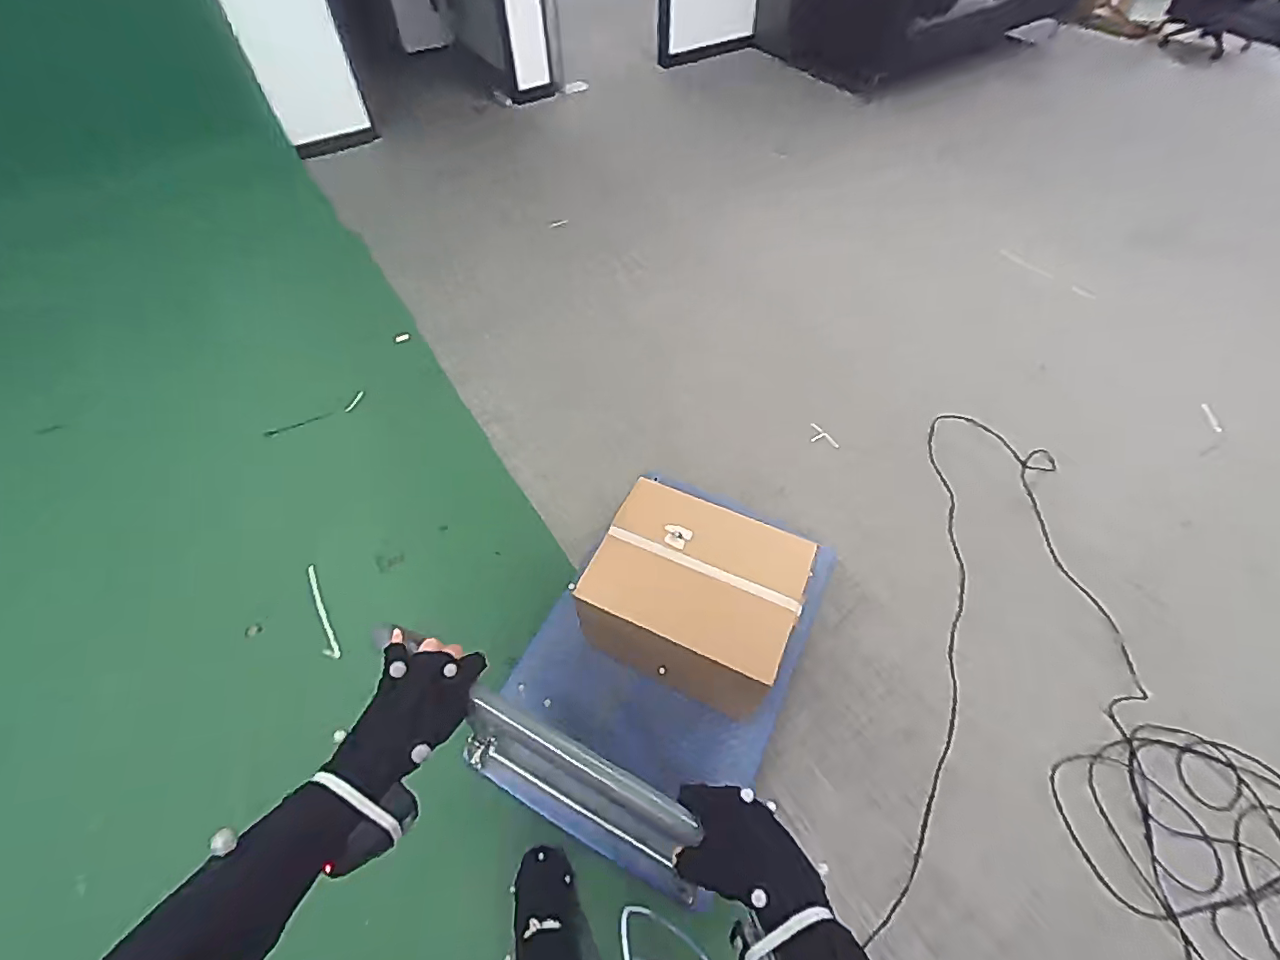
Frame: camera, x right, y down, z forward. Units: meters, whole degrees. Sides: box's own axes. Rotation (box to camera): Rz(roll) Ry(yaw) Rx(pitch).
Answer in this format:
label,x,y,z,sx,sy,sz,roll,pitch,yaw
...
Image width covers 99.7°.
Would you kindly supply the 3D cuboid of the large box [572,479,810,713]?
label,x,y,z,sx,sy,sz,roll,pitch,yaw
large box,0.113,0.259,1.198,0.408,0.320,0.320,21,57,15
